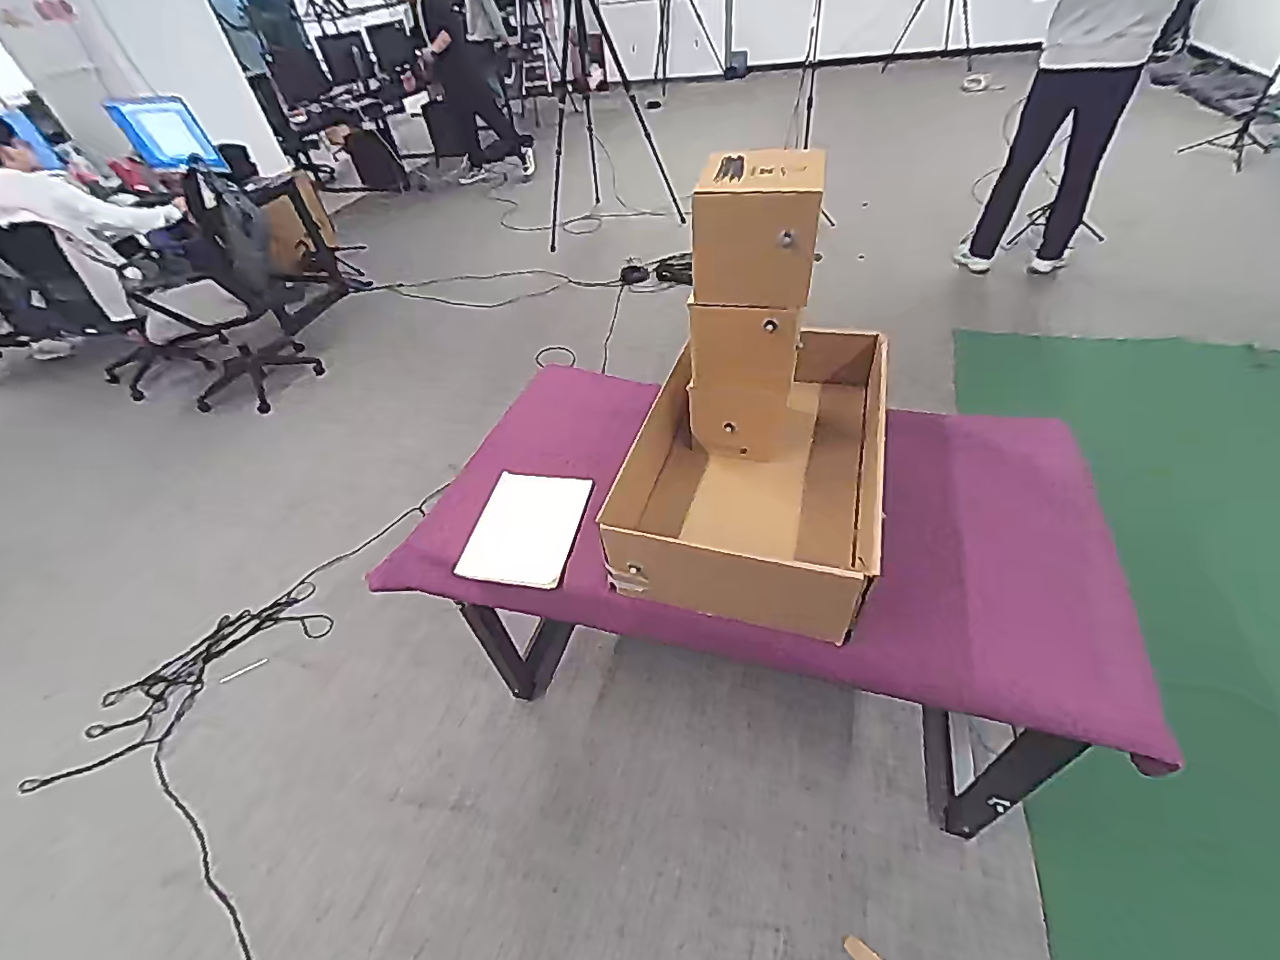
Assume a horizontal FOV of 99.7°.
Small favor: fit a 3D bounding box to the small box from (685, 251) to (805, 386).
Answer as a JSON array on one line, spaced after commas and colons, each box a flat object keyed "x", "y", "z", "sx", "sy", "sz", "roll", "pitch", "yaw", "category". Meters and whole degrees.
[{"x": 0.185, "y": -0.281, "z": 0.945, "sx": 0.179, "sy": 0.176, "sz": 0.168, "roll": 8, "pitch": 49, "yaw": 15, "category": "small box"}]

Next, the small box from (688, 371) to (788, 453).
[{"x": 0.200, "y": -0.174, "z": 1.066, "sx": 0.168, "sy": 0.176, "sz": 0.179, "roll": 9, "pitch": 50, "yaw": 17, "category": "small box"}]
